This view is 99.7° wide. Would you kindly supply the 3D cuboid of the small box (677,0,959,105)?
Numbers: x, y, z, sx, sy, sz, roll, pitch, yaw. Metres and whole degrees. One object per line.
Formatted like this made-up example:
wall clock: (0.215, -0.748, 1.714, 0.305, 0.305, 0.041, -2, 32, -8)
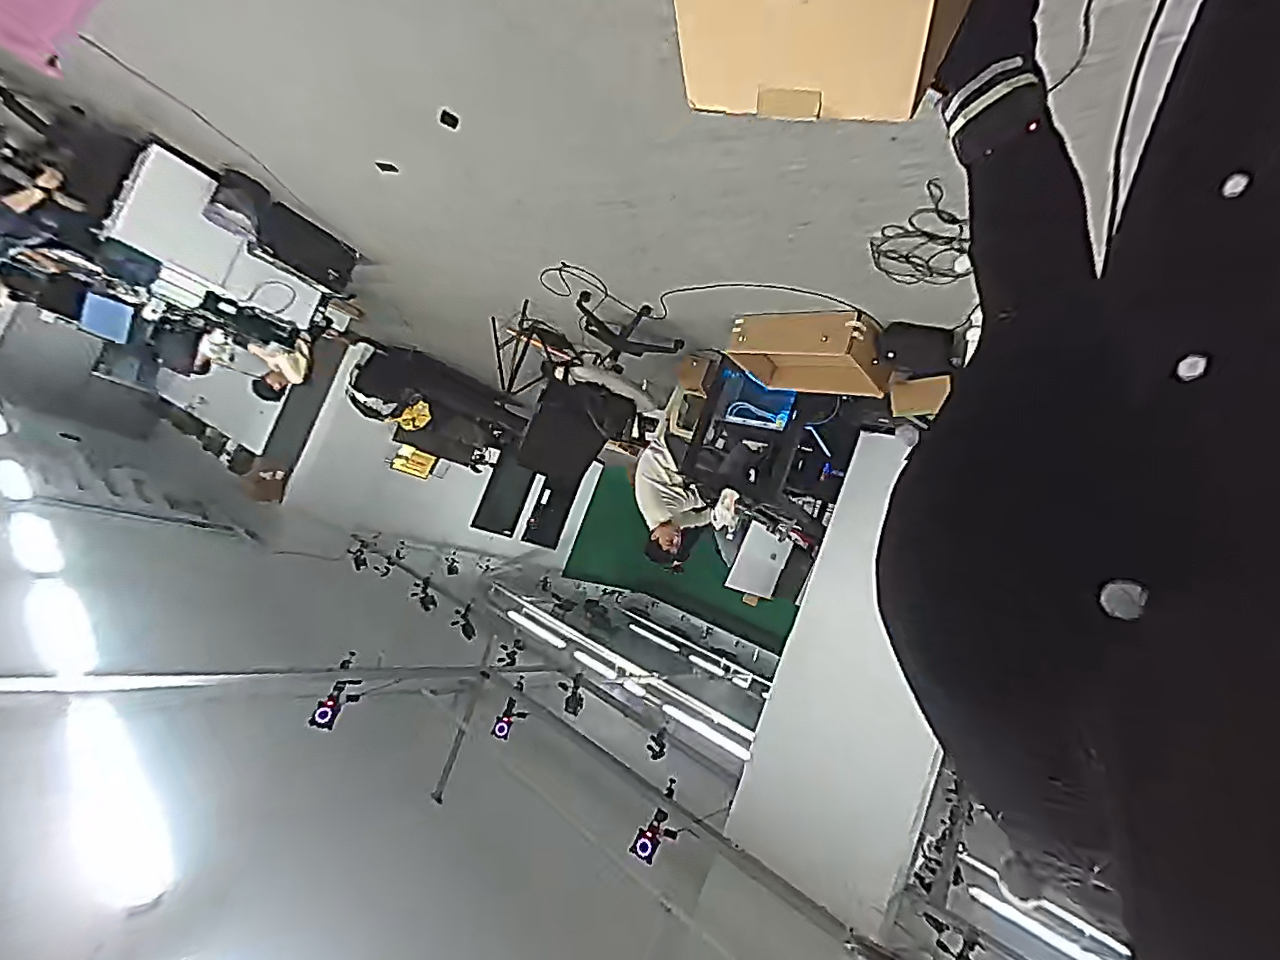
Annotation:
small box: (0.120, -0.373, 0.333, 0.168, 0.179, 0.176, 22, 161, 24)
